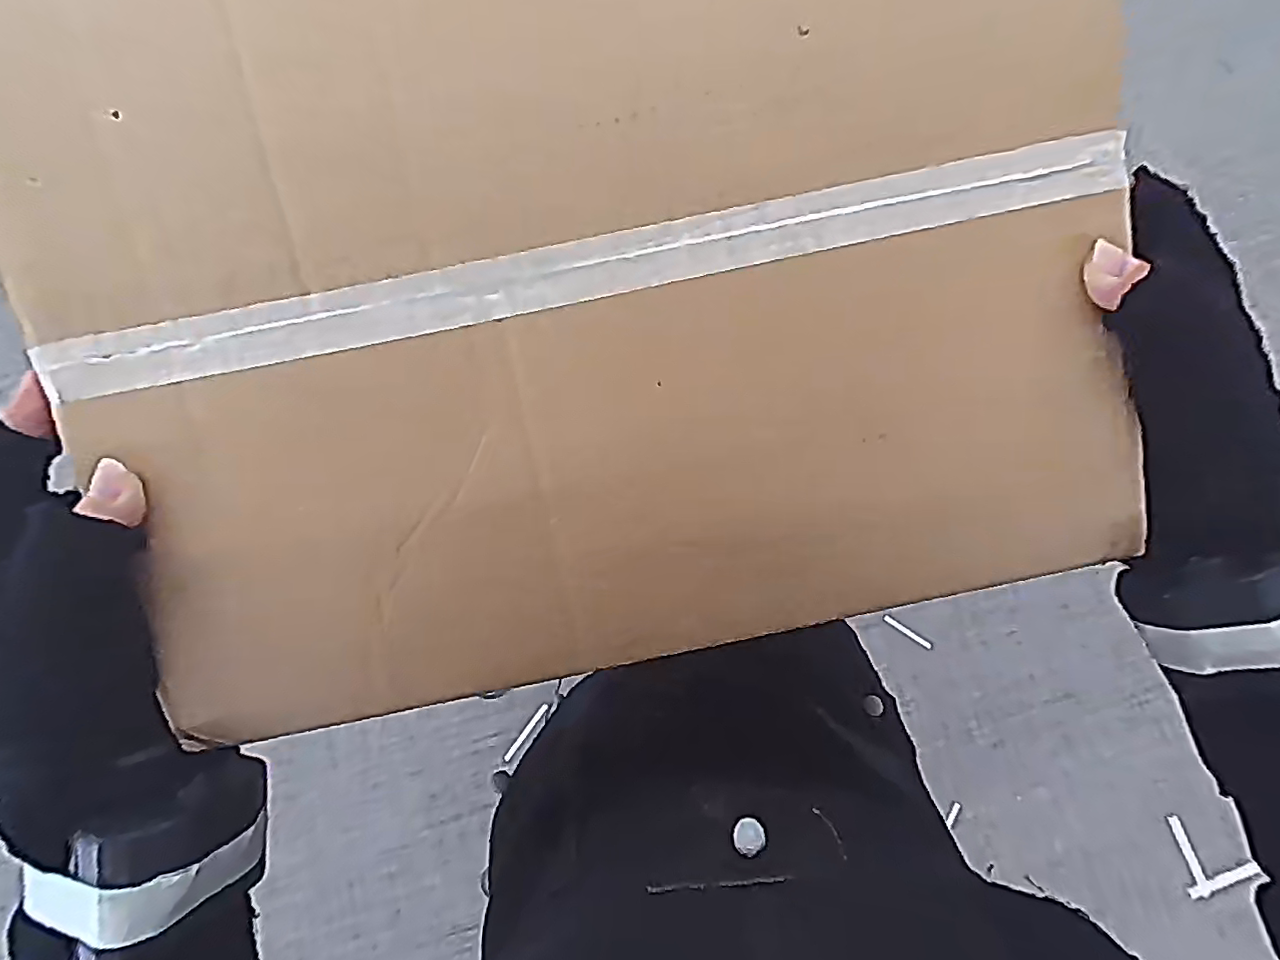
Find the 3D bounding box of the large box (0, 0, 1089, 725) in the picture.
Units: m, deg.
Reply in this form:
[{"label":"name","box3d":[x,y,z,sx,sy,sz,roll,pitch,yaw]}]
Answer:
[{"label":"large box","box3d":[-0.026,-0.104,0.362,0.408,0.320,0.320,-11,99,-1]}]
